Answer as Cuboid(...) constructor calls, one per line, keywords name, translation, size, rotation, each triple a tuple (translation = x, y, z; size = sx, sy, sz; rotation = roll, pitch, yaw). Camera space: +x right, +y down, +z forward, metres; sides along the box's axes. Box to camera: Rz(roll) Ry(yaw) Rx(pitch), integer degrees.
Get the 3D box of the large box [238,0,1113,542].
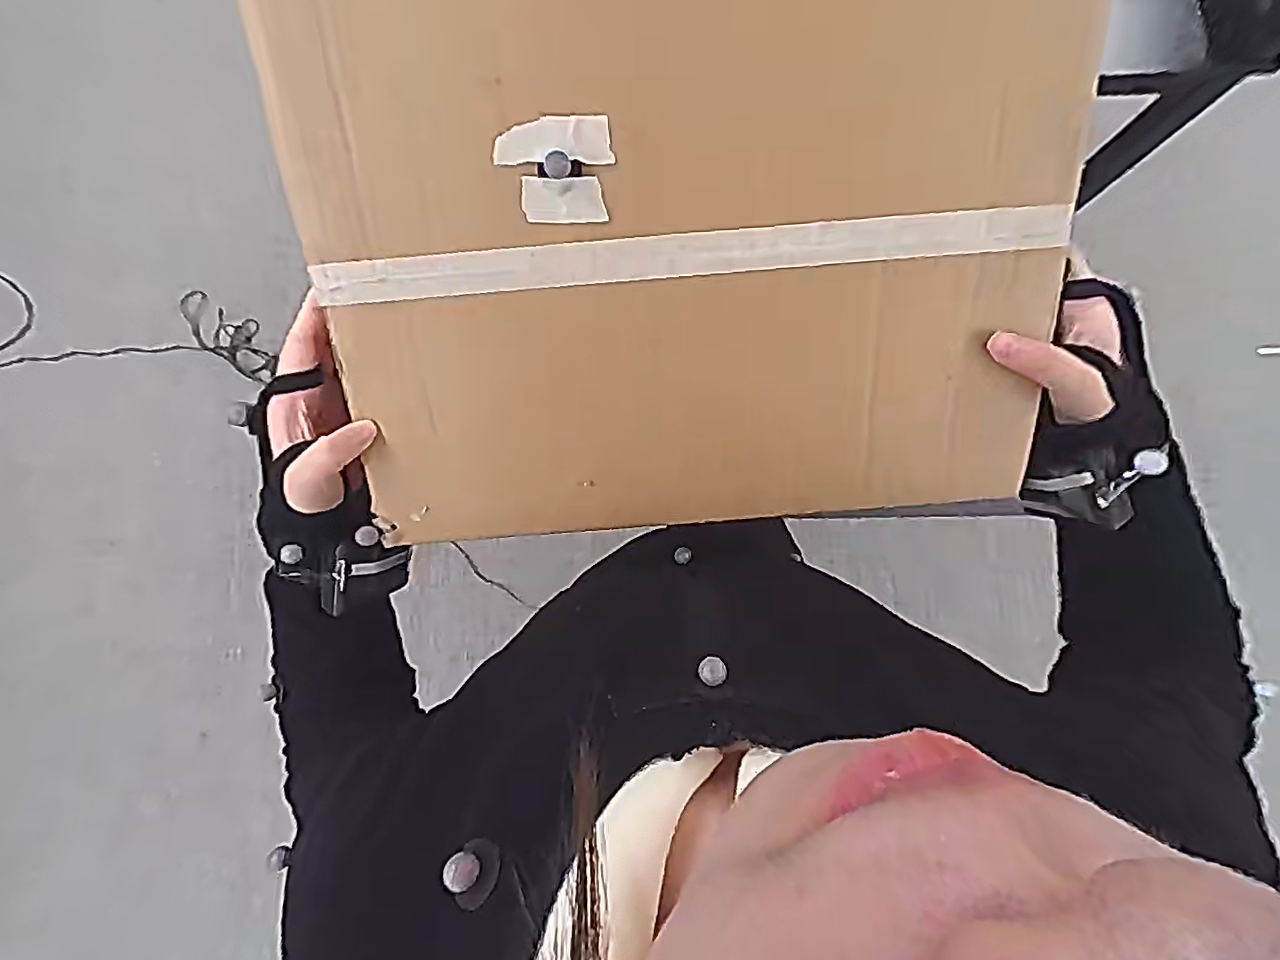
Cuboid(name="large box", translation=(0.026, -0.175, 0.423), size=(0.408, 0.320, 0.320), rotation=(-5, 110, 0))
